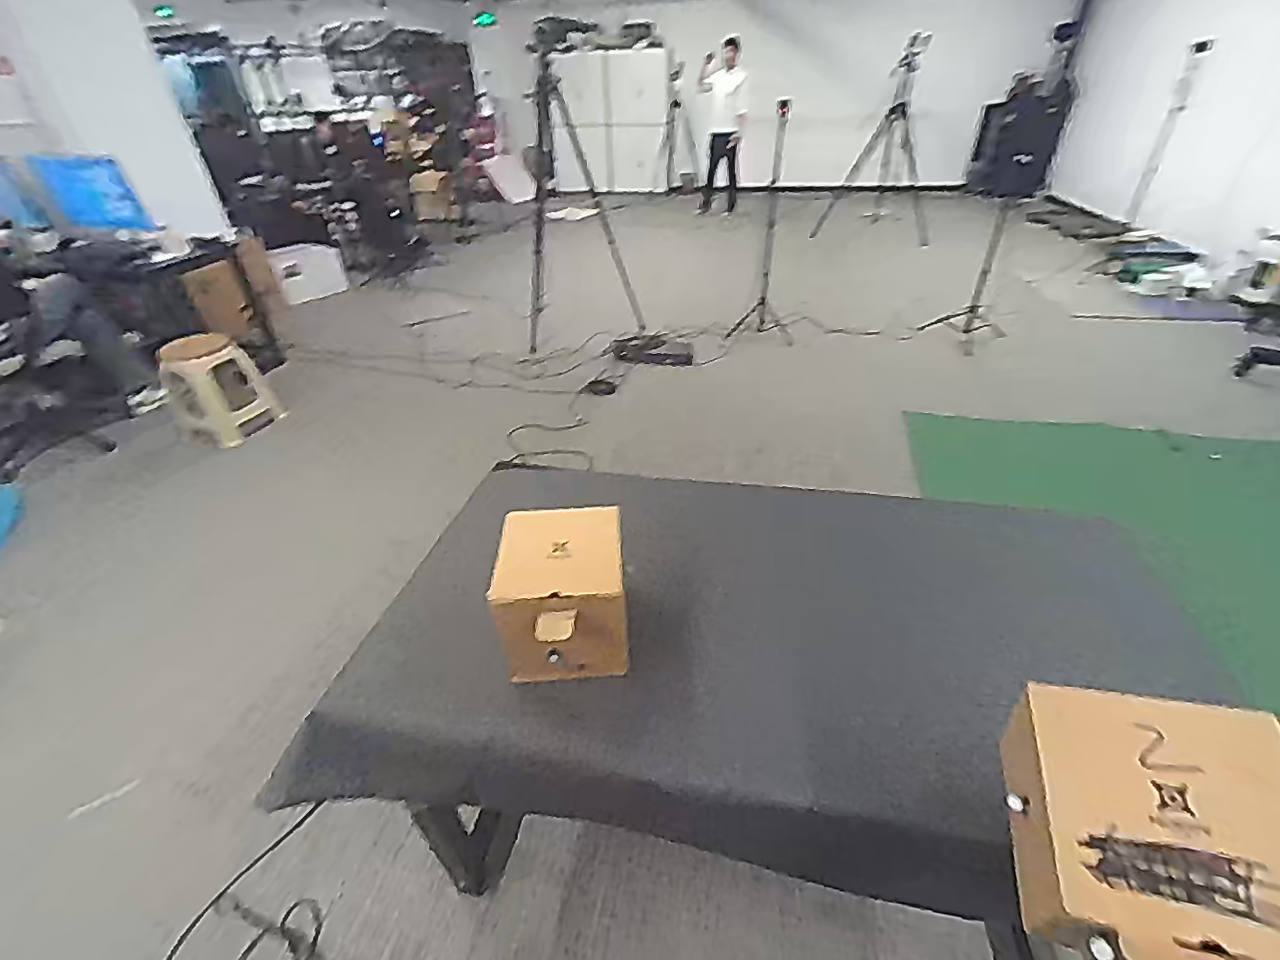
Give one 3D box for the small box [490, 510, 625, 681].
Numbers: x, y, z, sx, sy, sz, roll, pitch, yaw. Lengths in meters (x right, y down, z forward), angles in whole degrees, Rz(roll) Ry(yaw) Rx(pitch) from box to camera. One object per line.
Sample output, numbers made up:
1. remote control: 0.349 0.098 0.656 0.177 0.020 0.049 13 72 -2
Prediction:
1. small box: -0.107 0.163 0.778 0.168 0.176 0.179 -3 36 -2
